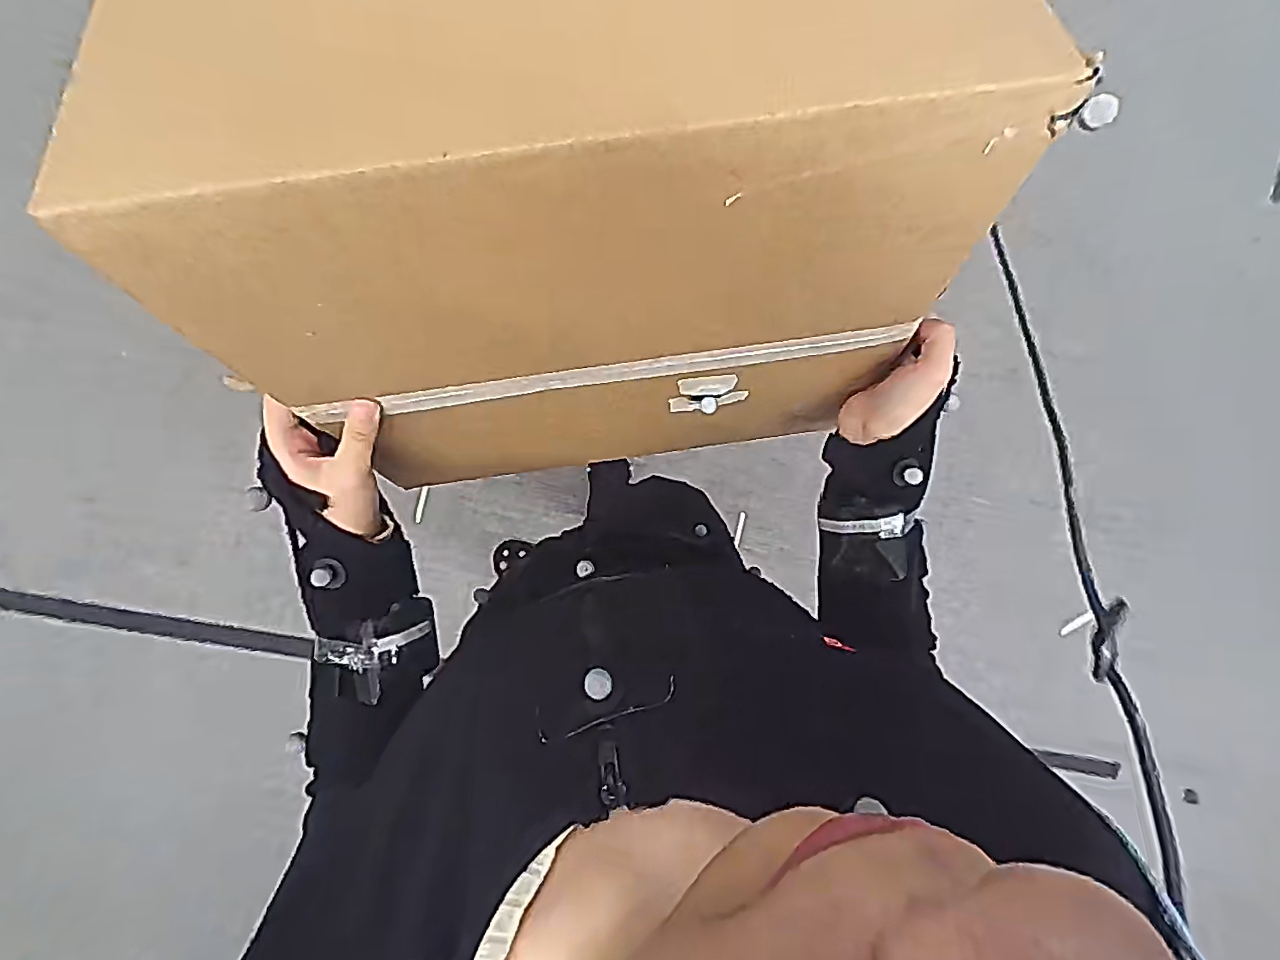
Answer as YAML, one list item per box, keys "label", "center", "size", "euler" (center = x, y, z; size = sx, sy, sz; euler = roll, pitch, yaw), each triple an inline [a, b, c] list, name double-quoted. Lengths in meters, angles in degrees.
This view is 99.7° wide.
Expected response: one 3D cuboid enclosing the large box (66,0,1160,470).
- label: "large box"
  center: [-0.026, -0.228, 0.380]
  size: [0.408, 0.320, 0.320]
  euler: [-8, 71, -1]
